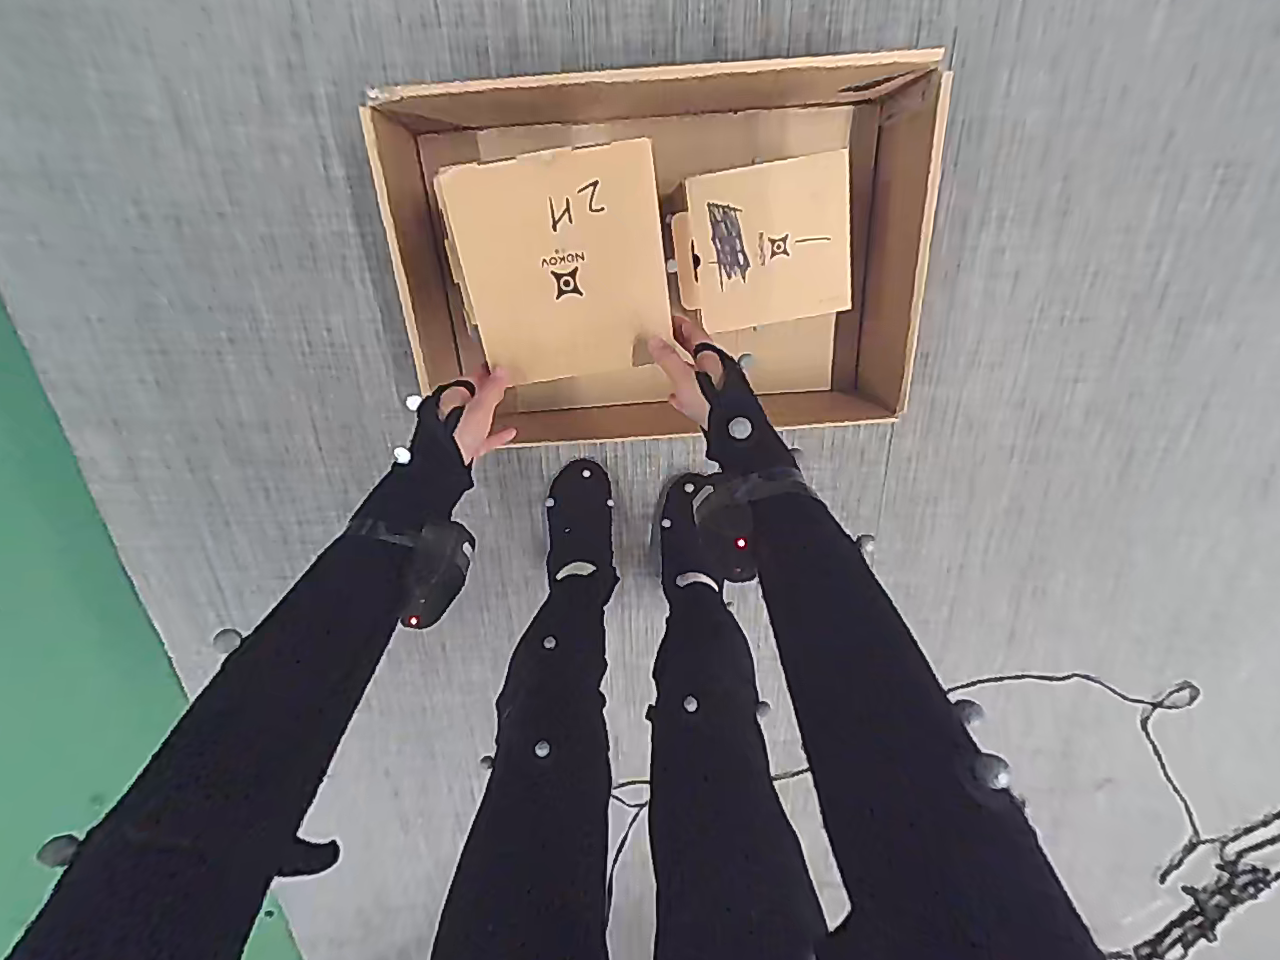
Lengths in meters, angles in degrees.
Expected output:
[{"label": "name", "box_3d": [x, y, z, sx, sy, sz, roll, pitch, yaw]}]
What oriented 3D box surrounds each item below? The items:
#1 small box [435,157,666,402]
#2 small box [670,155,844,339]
[{"label": "small box", "box_3d": [-0.072, -0.193, 0.527, 0.168, 0.176, 0.179, -10, 114, 0]}, {"label": "small box", "box_3d": [0.135, -0.282, 0.672, 0.179, 0.176, 0.168, -11, 113, 3]}]
